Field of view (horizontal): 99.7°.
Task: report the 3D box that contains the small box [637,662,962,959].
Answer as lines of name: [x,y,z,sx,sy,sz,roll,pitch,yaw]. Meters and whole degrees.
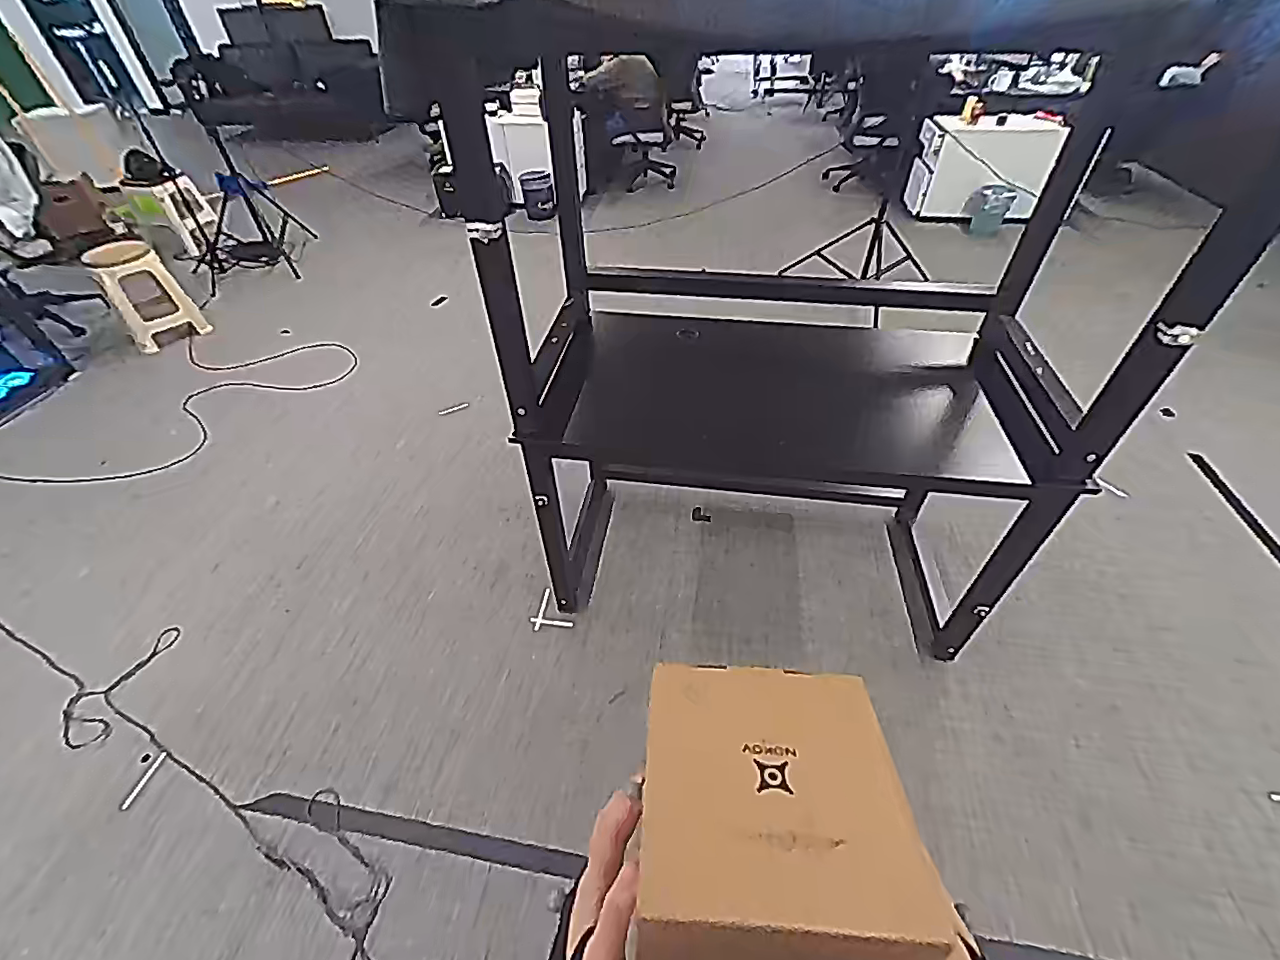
small box: [0.086,0.261,0.387,0.168,0.176,0.179,3,29,3]
